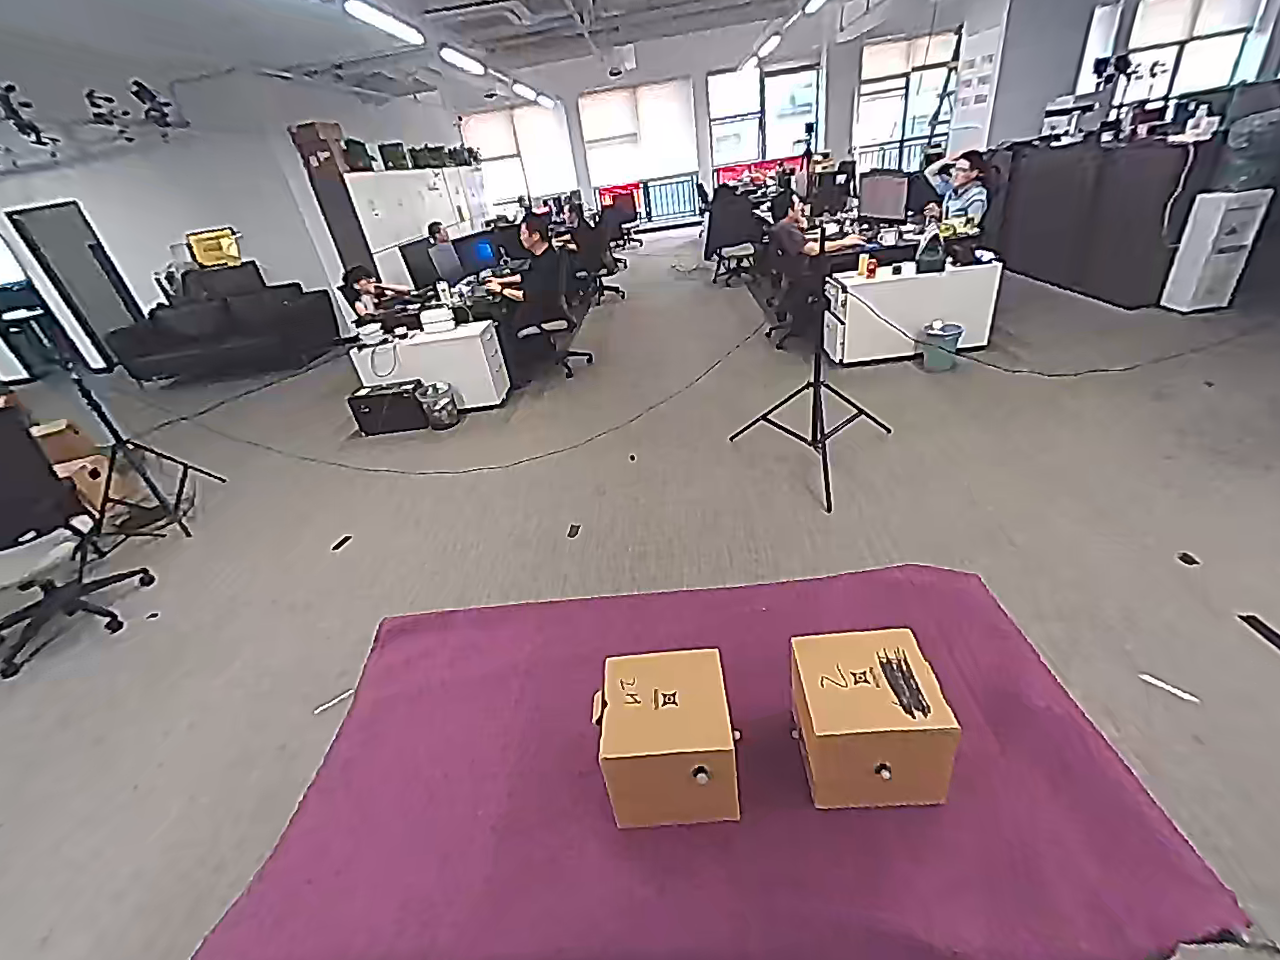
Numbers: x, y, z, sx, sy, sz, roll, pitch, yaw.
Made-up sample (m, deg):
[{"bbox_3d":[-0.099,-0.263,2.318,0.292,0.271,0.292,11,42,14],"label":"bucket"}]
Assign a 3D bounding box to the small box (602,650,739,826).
[{"bbox_3d":[0.047,0.376,0.791,0.179,0.176,0.168,-7,30,4],"label":"small box"}]
